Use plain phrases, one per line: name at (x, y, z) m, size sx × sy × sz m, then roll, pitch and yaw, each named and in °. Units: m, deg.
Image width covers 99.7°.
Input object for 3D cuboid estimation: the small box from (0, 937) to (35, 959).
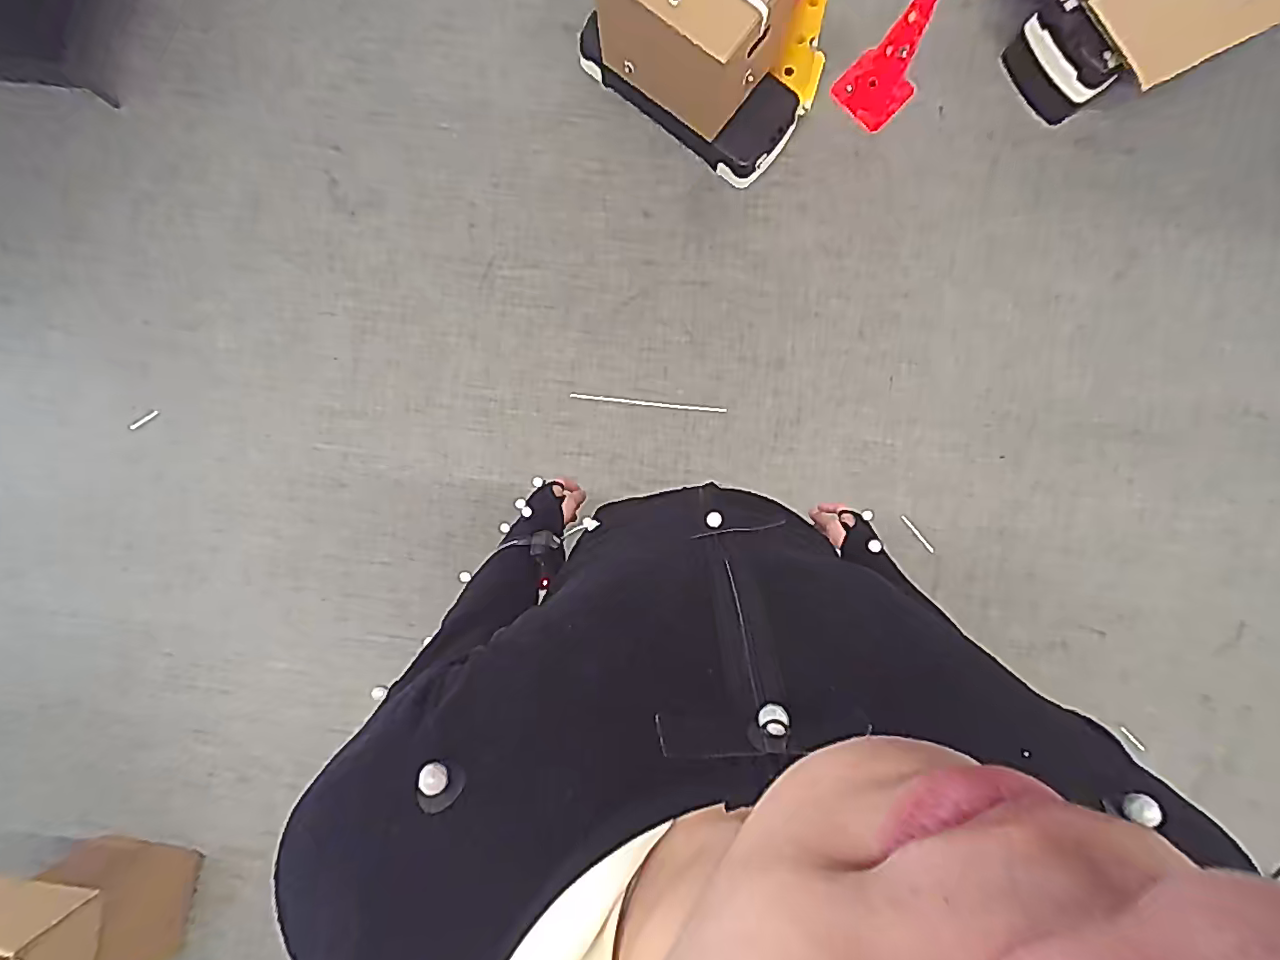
small box at (-1.473, 1.111, 1.147) m, size 0.179 × 0.176 × 0.168 m, roll 9°, pitch 88°, yaw 0°
